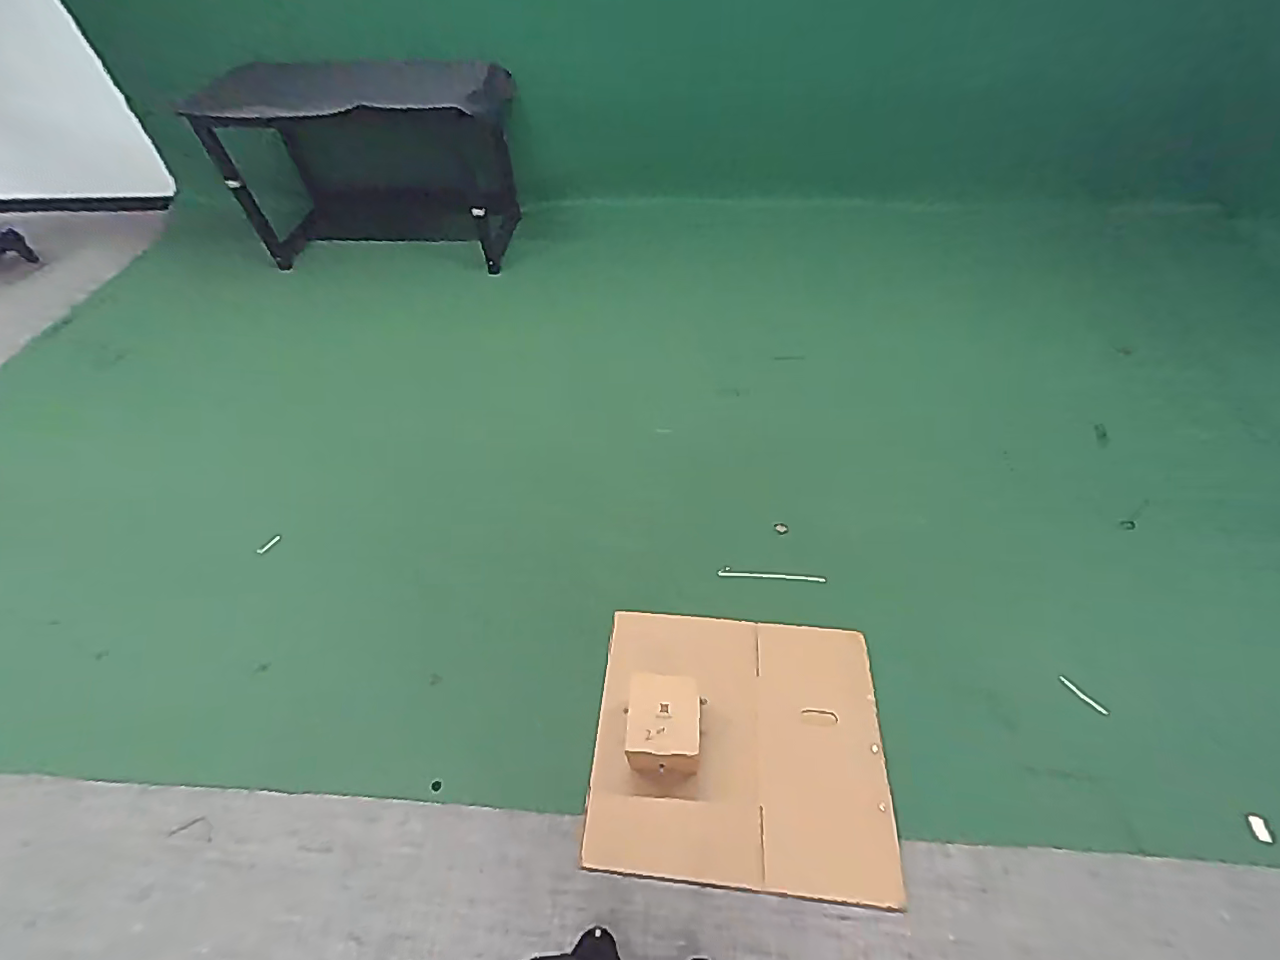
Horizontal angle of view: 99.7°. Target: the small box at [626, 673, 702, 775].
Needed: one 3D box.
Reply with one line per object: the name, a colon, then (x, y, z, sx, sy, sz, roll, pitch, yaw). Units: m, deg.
small box: (0.061, 0.579, 1.281, 0.168, 0.176, 0.179, 1, 51, 6)
